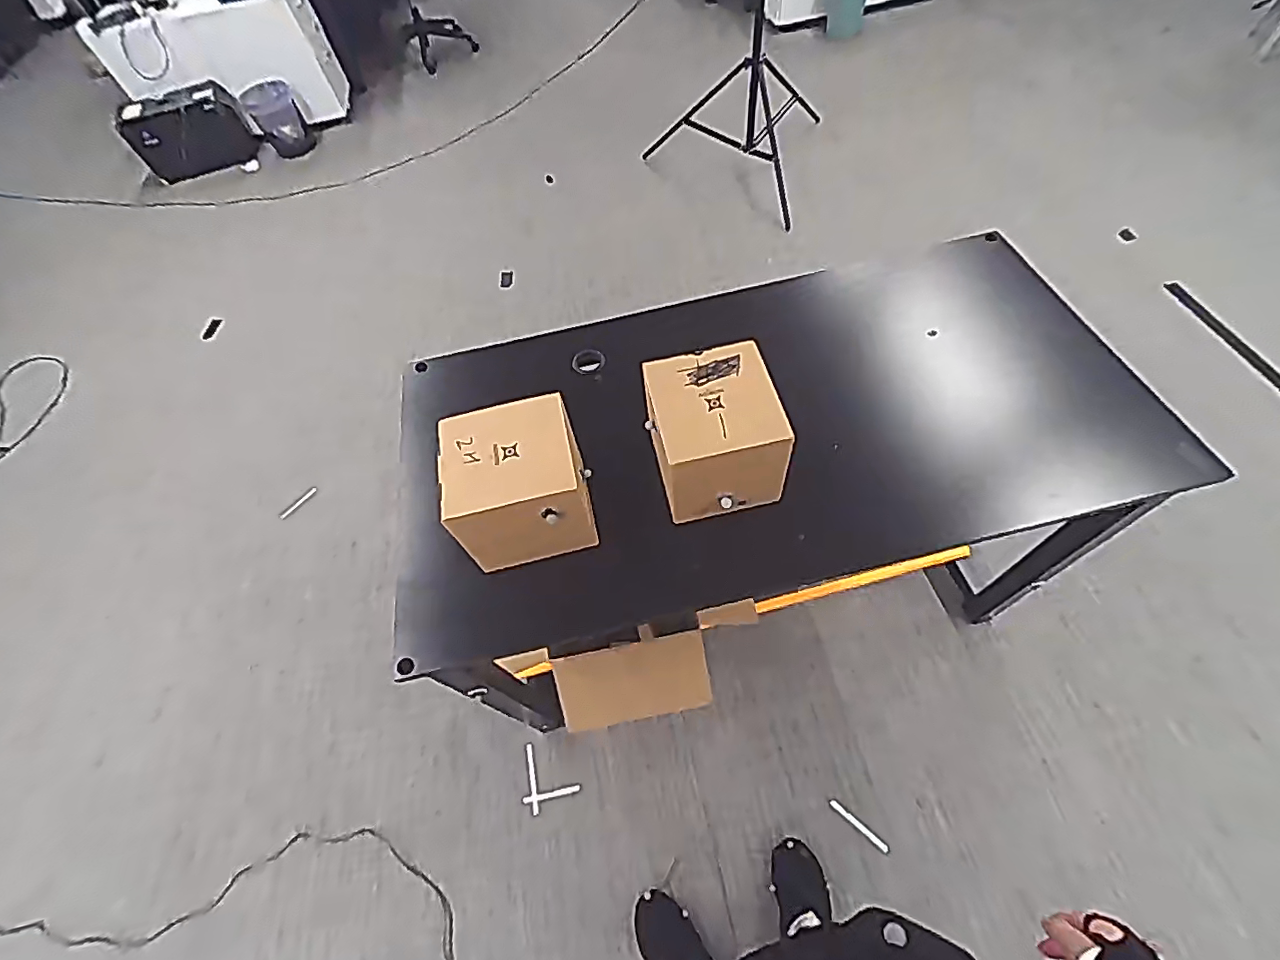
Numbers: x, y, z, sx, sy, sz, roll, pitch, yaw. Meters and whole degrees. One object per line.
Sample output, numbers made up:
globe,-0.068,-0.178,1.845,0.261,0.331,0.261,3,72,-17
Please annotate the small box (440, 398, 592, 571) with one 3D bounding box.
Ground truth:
small box,-0.171,0.012,0.783,0.179,0.176,0.168,-14,57,-2

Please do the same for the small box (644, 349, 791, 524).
small box,0.105,-0.060,0.797,0.168,0.176,0.179,-13,58,-1
